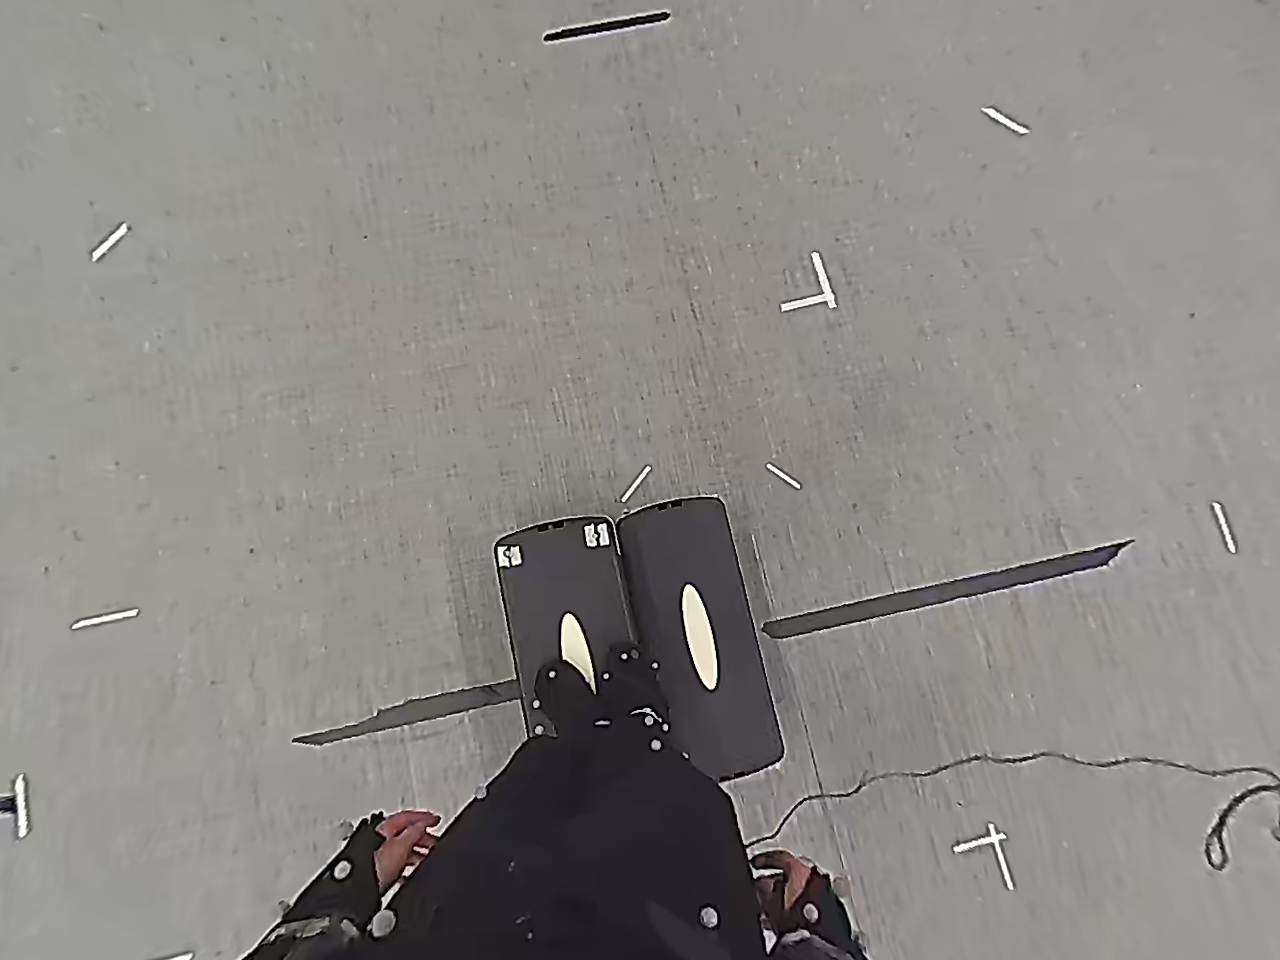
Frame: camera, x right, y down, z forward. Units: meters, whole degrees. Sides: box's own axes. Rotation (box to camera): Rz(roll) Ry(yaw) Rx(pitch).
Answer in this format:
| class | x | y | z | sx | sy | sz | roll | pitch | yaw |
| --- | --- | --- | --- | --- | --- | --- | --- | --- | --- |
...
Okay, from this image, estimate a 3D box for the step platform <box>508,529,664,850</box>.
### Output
| class | x | y | z | sx | sy | sz | roll | pitch | yaw |
| --- | --- | --- | --- | --- | --- | --- | --- | --- | --- |
| step platform | -0.130 | 0.458 | 1.262 | 0.286 | 0.204 | 0.684 | -8 | 79 | -4 |
